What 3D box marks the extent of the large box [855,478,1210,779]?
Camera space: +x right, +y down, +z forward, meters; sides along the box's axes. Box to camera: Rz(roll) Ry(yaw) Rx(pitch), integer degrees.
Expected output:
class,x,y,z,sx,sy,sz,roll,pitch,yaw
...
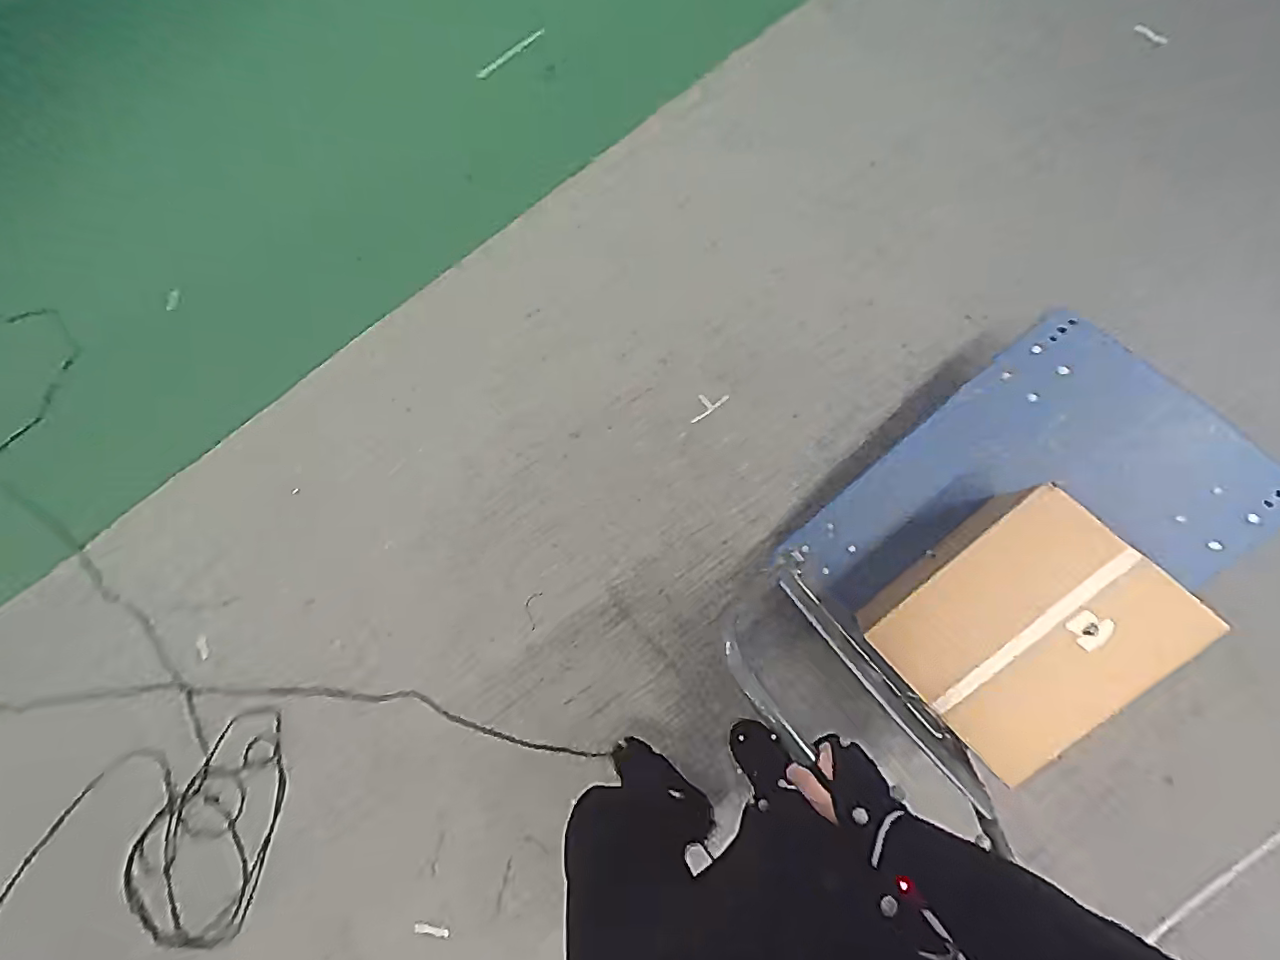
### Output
class,x,y,z,sx,sy,sz,roll,pitch,yaw
large box,0.672,0.259,1.025,0.408,0.320,0.320,-45,73,9
